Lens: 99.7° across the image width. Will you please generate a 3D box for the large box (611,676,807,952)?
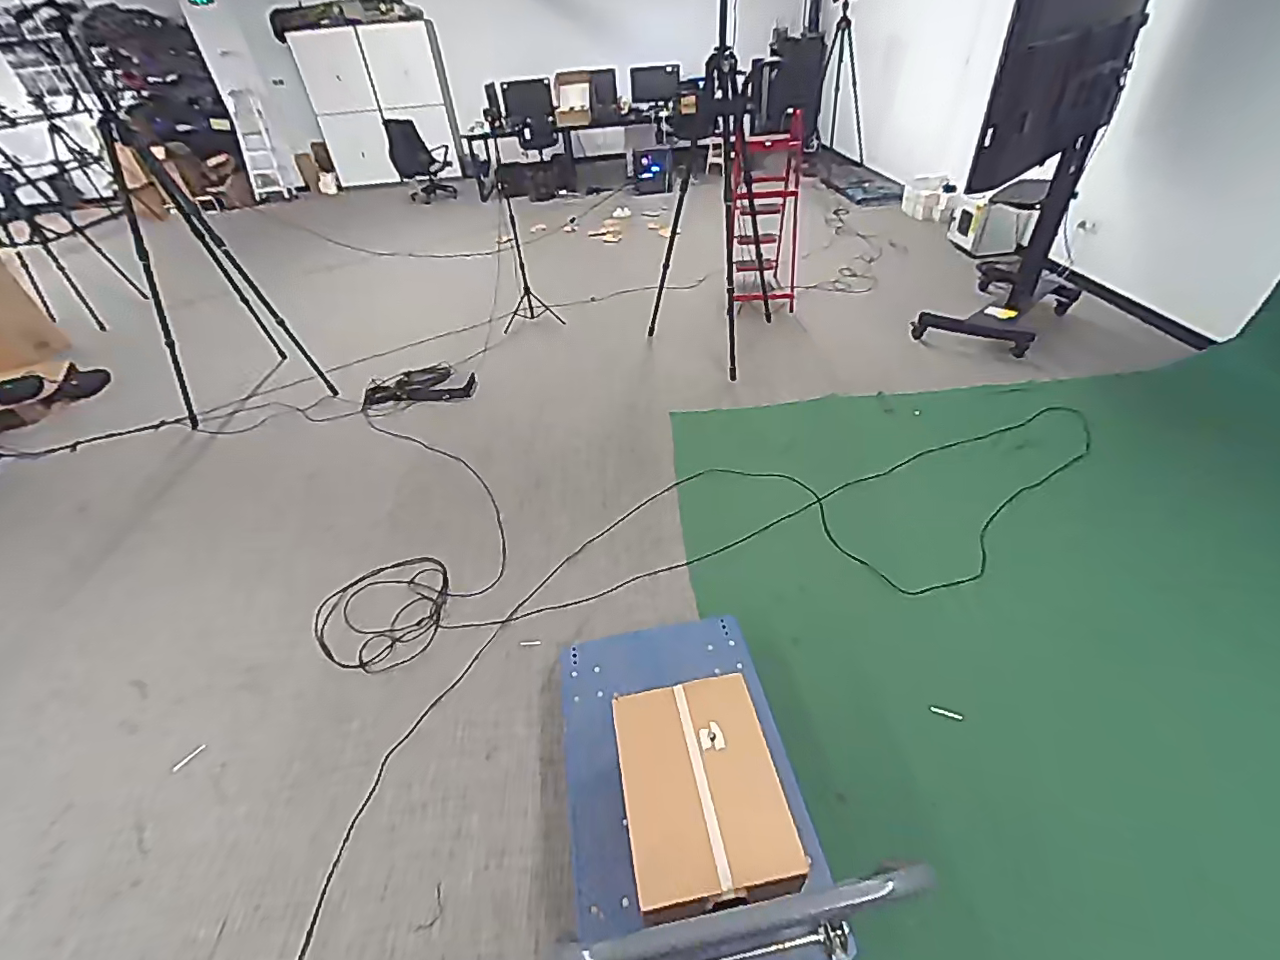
[{"bbox_3d":[0.131,0.723,1.199,0.320,0.320,0.408,-9,39,-5],"label":"large box"}]
